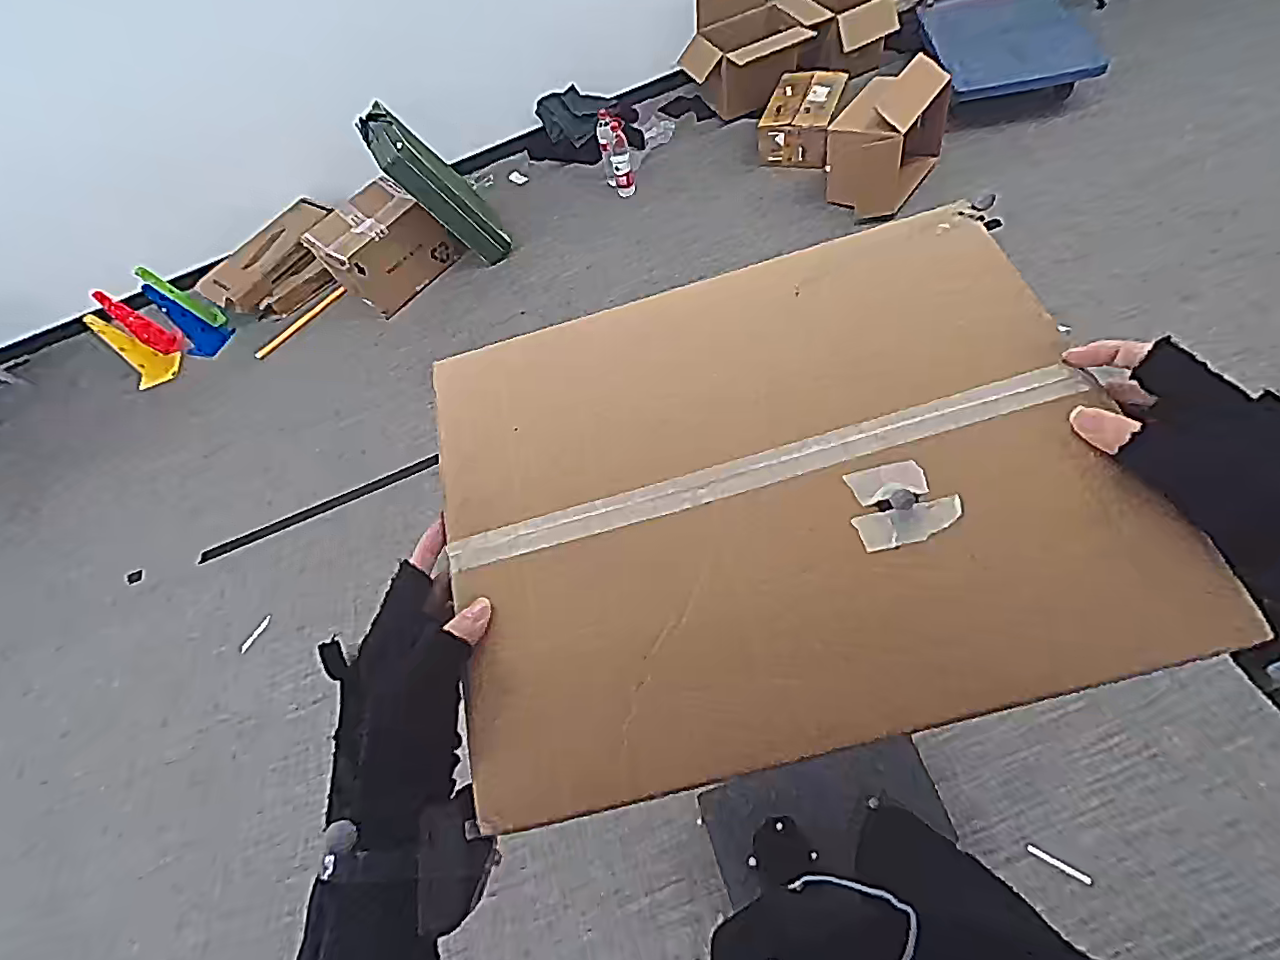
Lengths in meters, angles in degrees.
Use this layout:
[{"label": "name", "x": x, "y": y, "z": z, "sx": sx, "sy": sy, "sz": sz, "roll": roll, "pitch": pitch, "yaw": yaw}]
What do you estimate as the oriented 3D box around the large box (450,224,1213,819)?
[{"label": "large box", "x": 0.098, "y": 0.055, "z": 0.486, "sx": 0.408, "sy": 0.320, "sz": 0.320, "roll": -16, "pitch": 67, "yaw": 3}]
